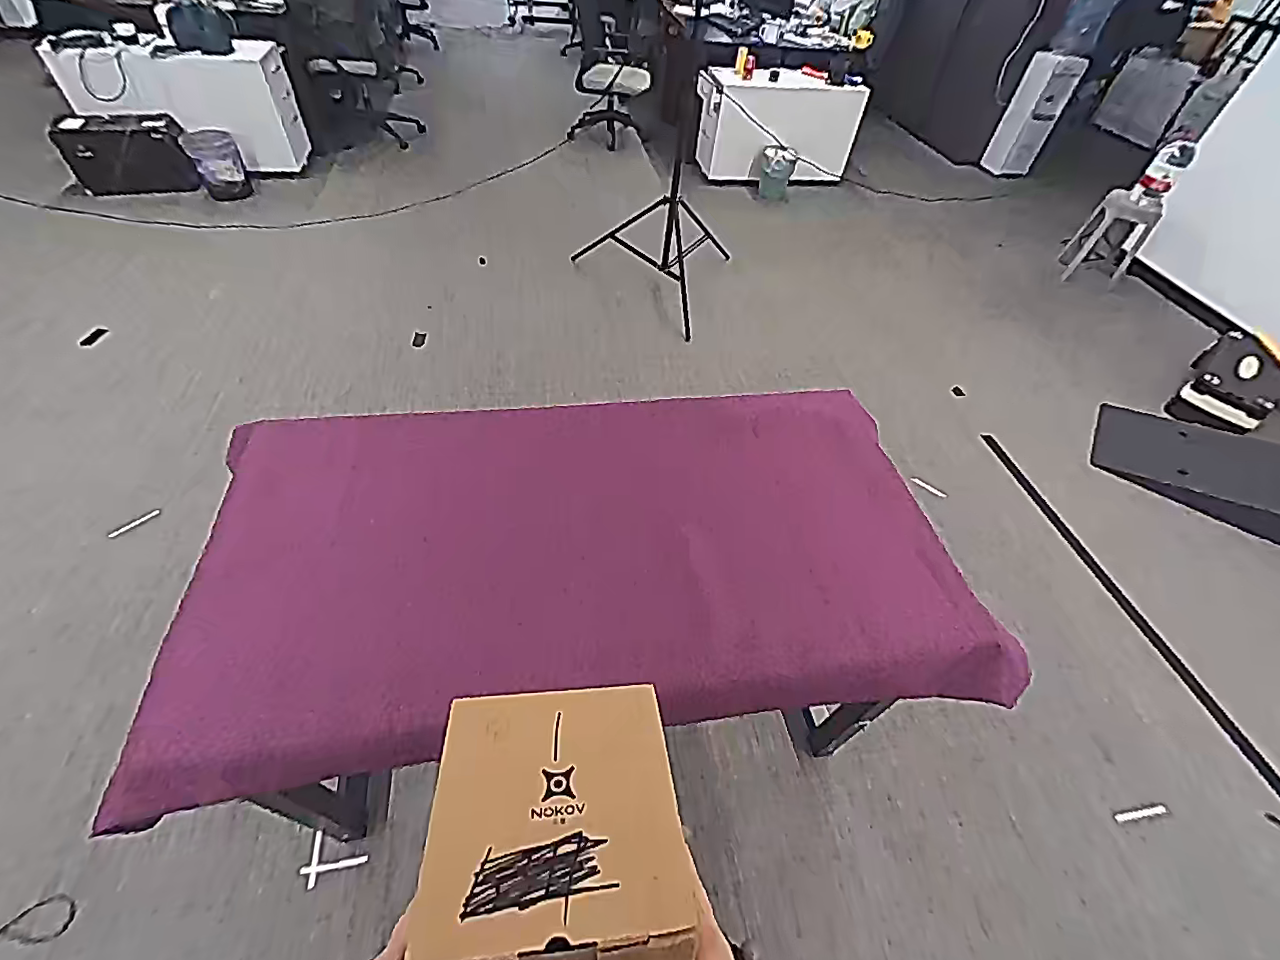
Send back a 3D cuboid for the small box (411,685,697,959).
[{"bbox_3d":[-0.059,0.289,0.414,0.168,0.176,0.179,-1,29,-8],"label":"small box"}]
